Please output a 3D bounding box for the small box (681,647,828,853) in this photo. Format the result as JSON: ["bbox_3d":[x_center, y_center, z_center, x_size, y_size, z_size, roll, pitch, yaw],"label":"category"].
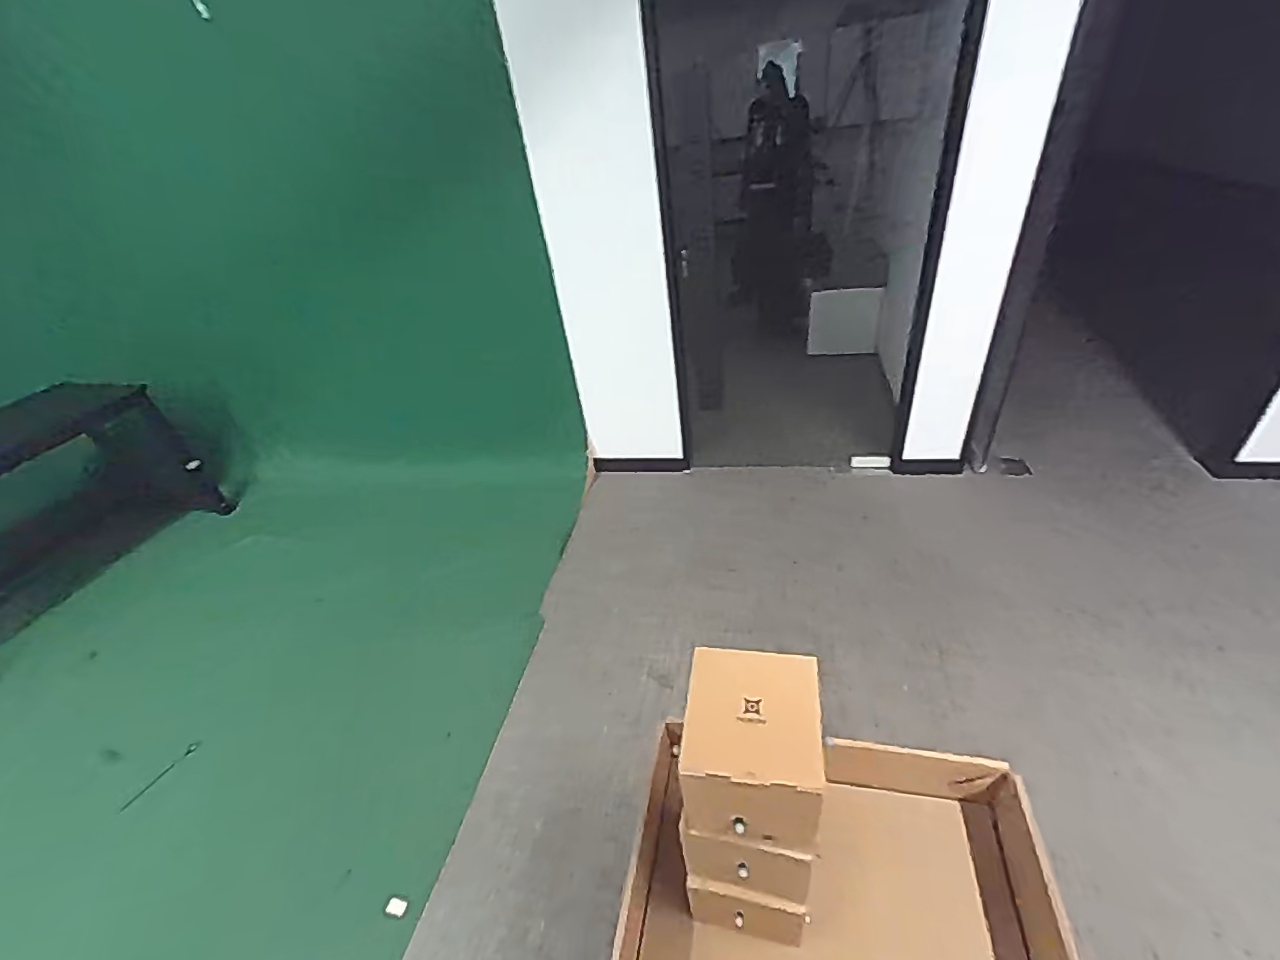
[{"bbox_3d":[0.152,0.352,0.717,0.168,0.176,0.179,1,37,14],"label":"small box"}]

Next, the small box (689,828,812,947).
[{"bbox_3d":[0.186,0.628,0.889,0.179,0.176,0.168,3,37,16],"label":"small box"}]
